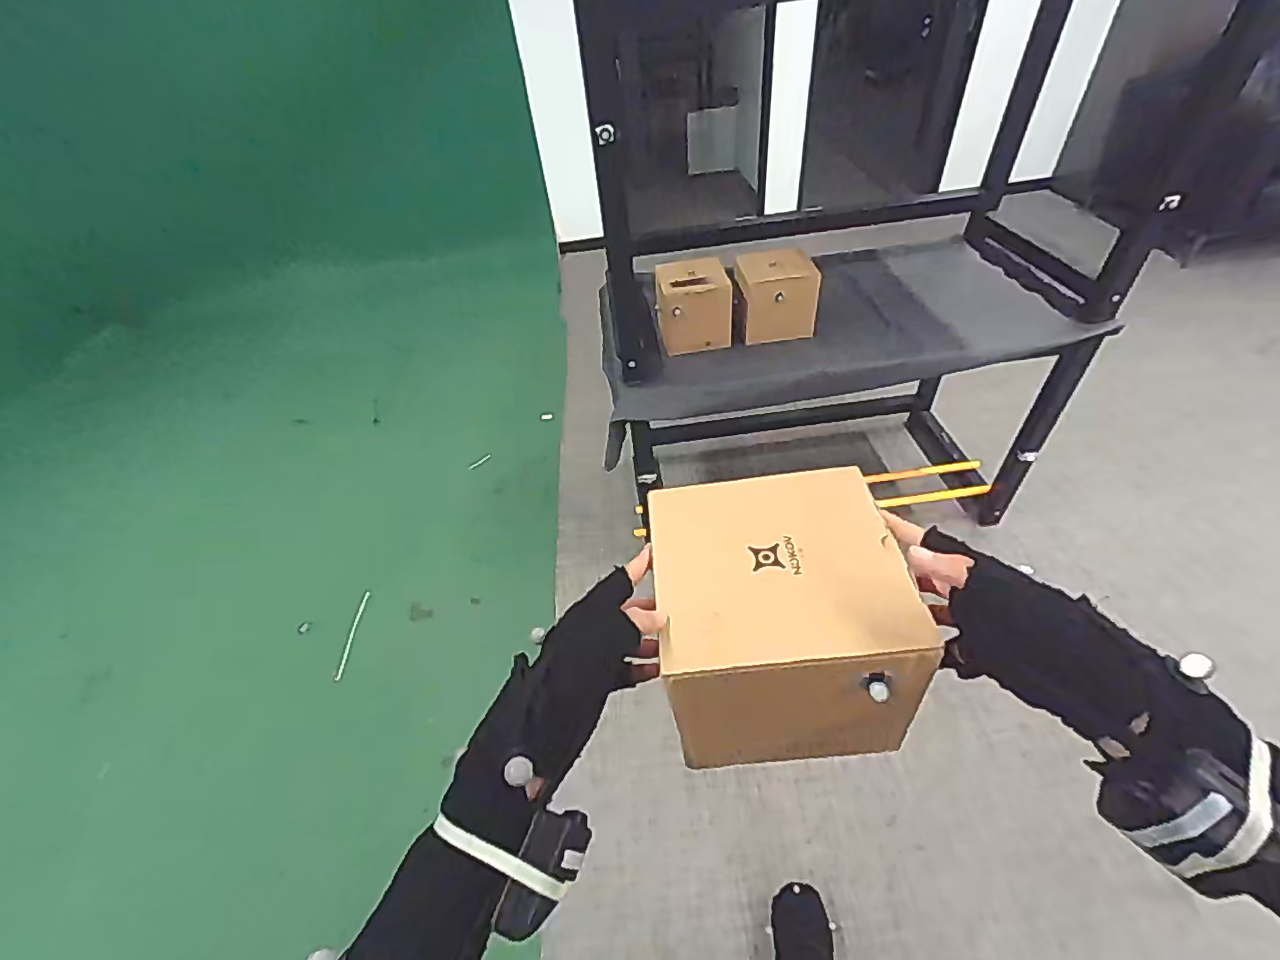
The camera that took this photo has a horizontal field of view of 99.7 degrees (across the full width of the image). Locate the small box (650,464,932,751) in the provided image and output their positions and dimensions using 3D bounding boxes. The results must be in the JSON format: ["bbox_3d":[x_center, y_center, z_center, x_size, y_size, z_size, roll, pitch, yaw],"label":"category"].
[{"bbox_3d":[0.108,0.111,0.456,0.179,0.176,0.168,-7,43,3],"label":"small box"}]
